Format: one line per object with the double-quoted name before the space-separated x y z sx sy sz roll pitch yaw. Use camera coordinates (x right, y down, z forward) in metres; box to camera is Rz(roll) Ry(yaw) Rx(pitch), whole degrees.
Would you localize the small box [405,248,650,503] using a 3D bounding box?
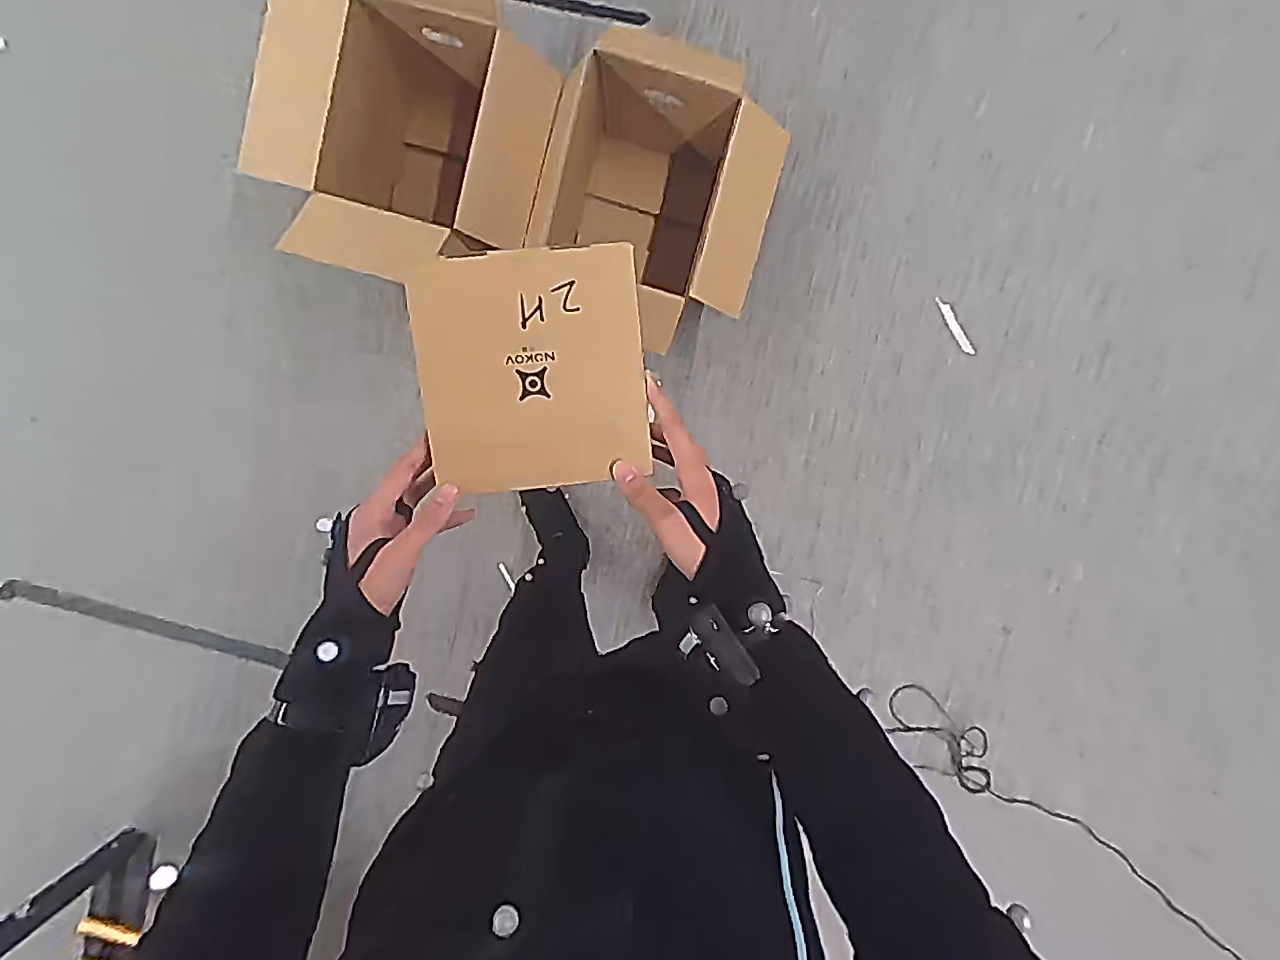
"small box" -0.083 -0.086 0.472 0.168 0.176 0.179 -5 98 -4
